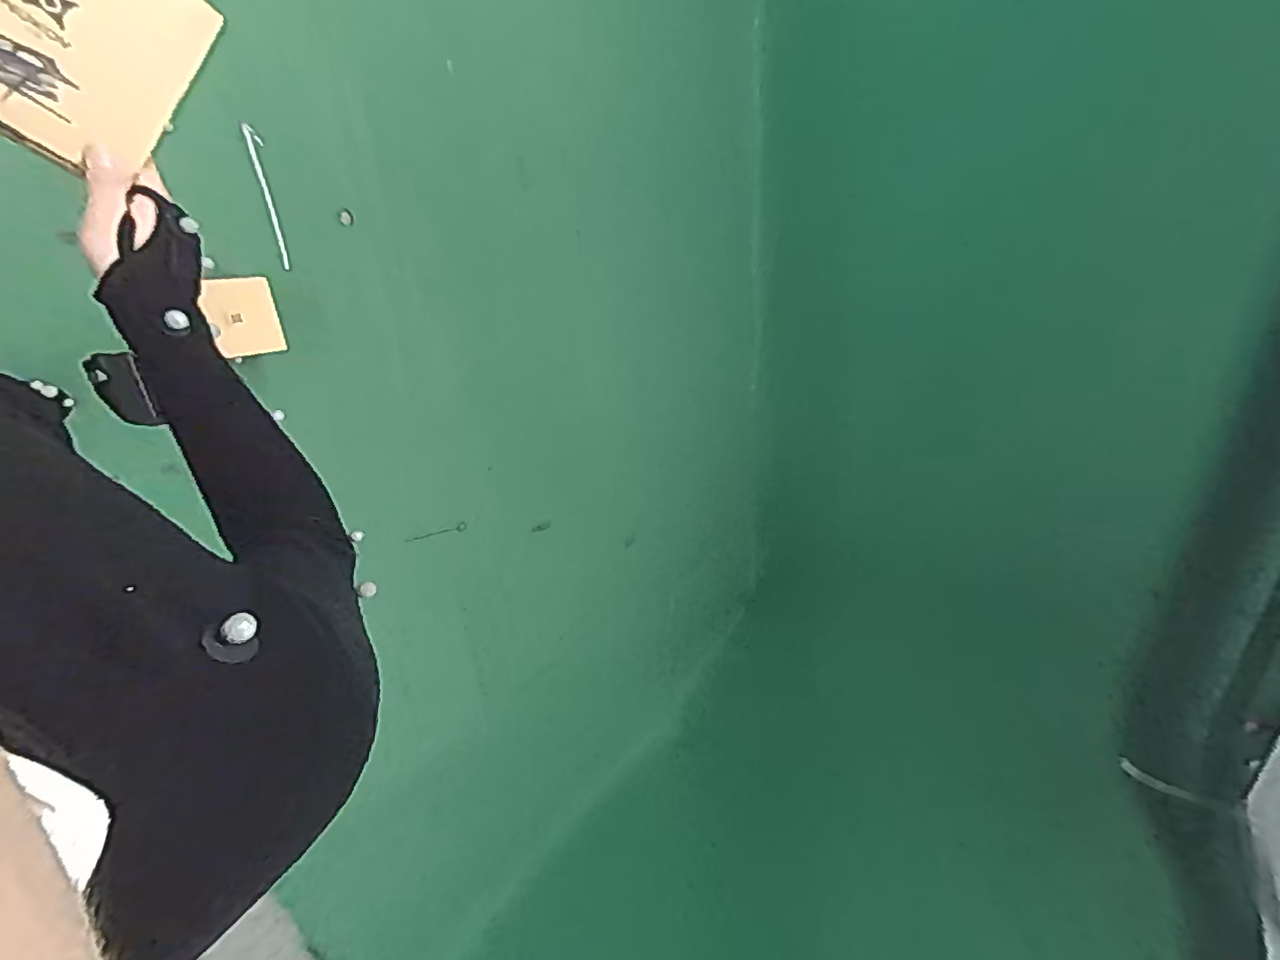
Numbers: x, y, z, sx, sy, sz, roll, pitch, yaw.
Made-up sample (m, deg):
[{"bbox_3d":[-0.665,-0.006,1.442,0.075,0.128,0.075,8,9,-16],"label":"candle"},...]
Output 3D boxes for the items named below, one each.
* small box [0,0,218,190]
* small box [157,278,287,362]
[{"bbox_3d":[-0.489,-0.366,0.425,0.168,0.176,0.179,29,87,-60],"label":"small box"},{"bbox_3d":[-0.963,-0.375,1.249,0.179,0.176,0.168,-27,123,-43],"label":"small box"}]
